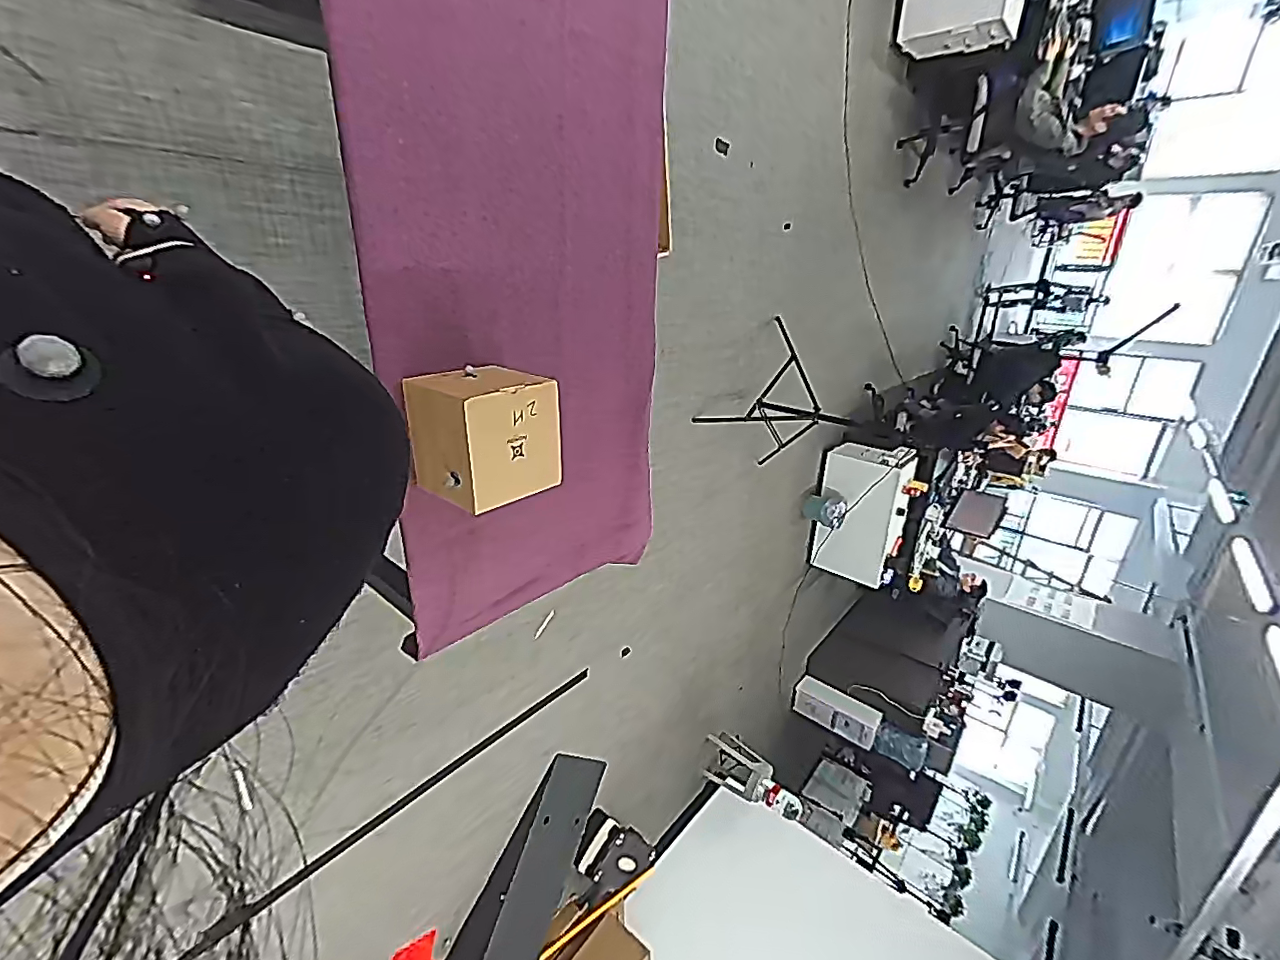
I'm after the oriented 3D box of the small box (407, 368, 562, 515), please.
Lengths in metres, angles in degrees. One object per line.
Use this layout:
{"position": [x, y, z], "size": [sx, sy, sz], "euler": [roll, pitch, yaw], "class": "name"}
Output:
{"position": [-0.241, -0.070, 0.850], "size": [0.168, 0.176, 0.179], "euler": [-23, 122, -45], "class": "small box"}
